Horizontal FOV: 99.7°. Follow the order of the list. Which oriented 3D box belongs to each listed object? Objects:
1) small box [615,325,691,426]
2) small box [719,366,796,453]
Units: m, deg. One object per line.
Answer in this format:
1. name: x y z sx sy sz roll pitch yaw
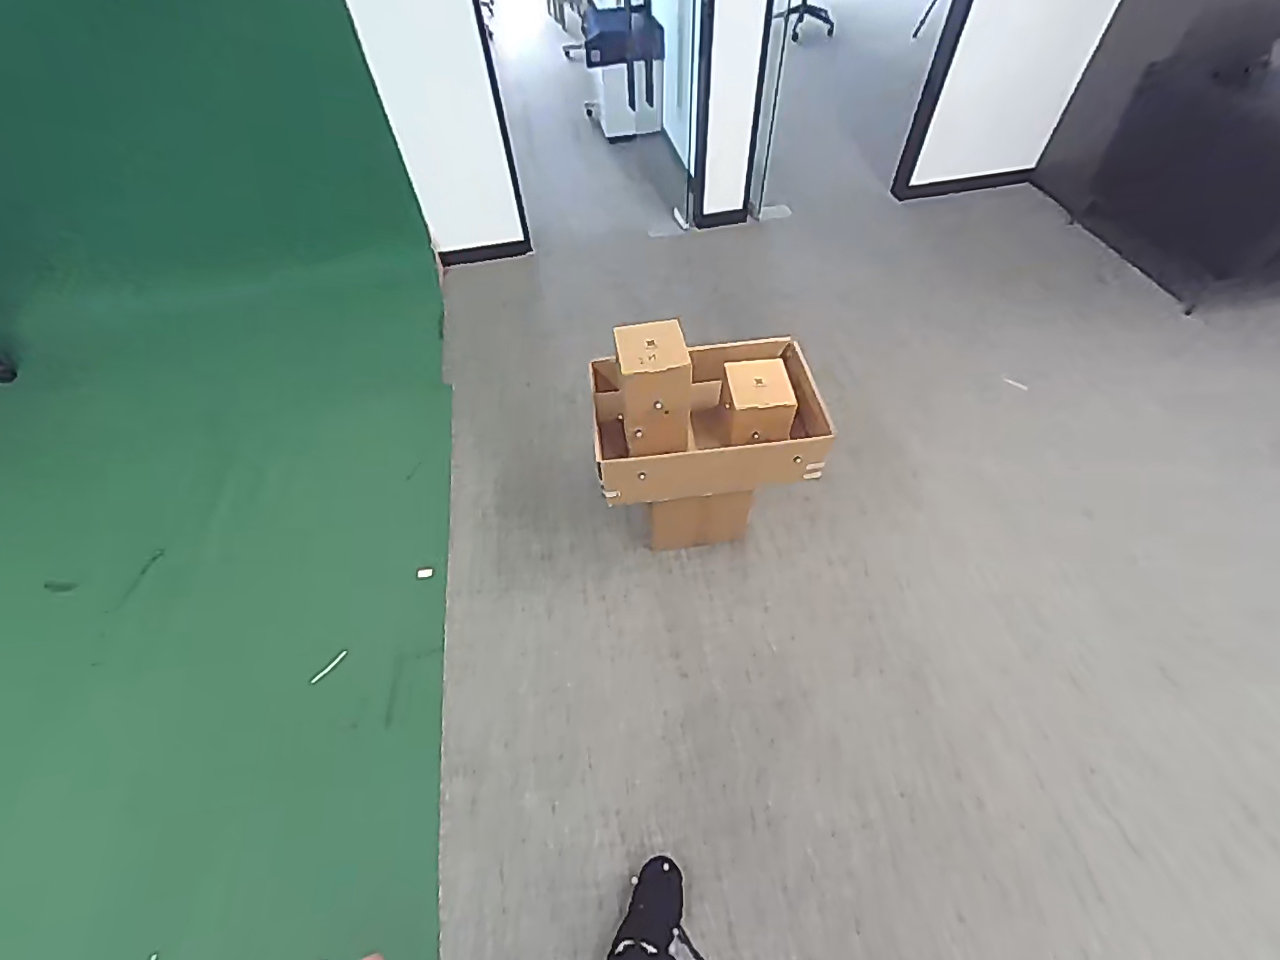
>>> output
1. small box: 0.029 -0.262 1.362 0.168 0.176 0.179 -8 53 -3
2. small box: 0.320 -0.196 1.510 0.168 0.176 0.179 -4 54 -2
